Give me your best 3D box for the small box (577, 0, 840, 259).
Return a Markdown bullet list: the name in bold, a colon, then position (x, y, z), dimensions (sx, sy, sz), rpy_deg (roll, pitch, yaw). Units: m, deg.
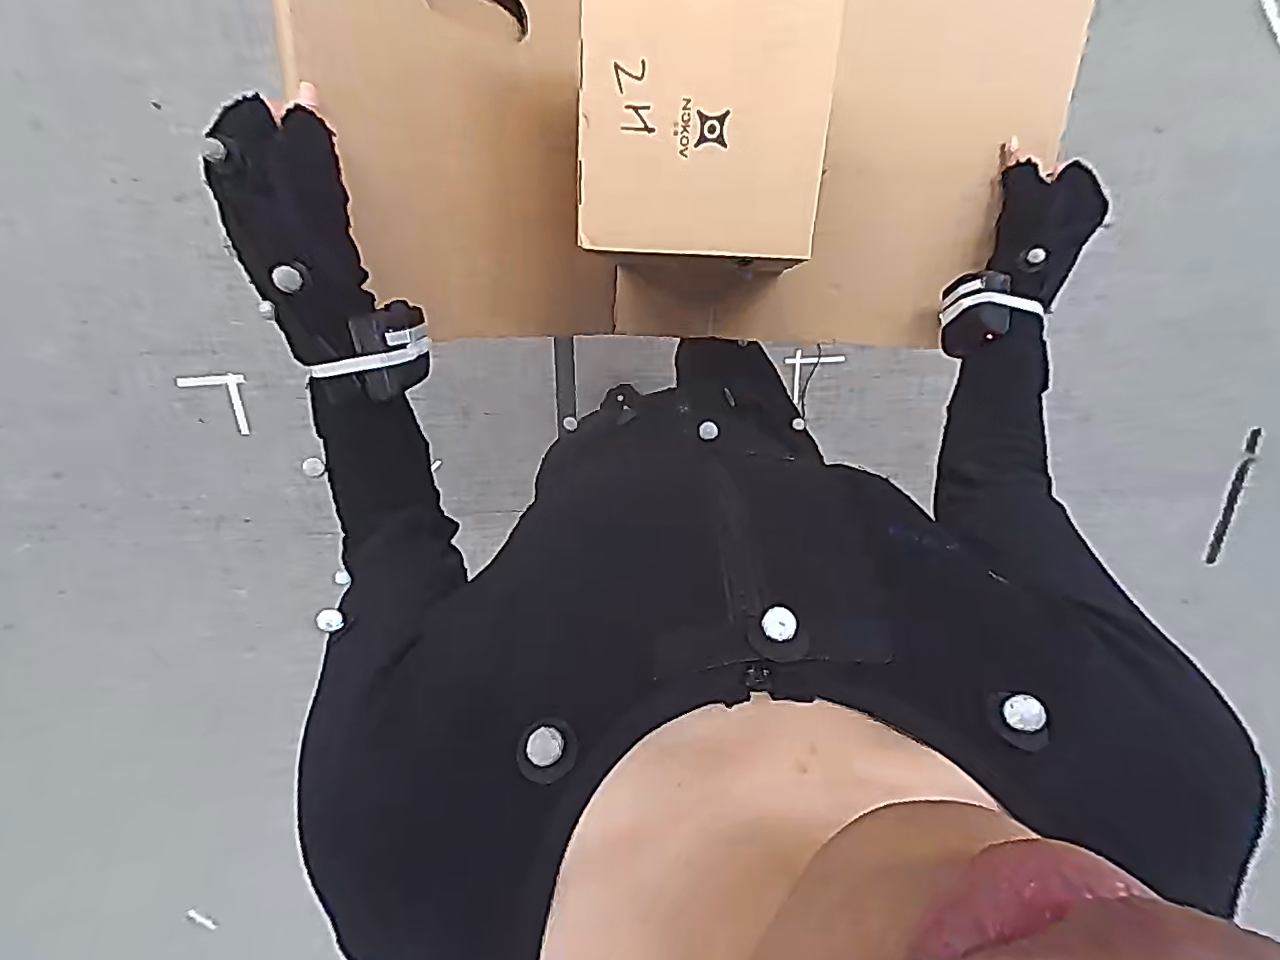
- **small box**: position (0.052, -0.285, 0.461), dimensions (0.179, 0.176, 0.168), rpy_deg (6, 109, 7)
